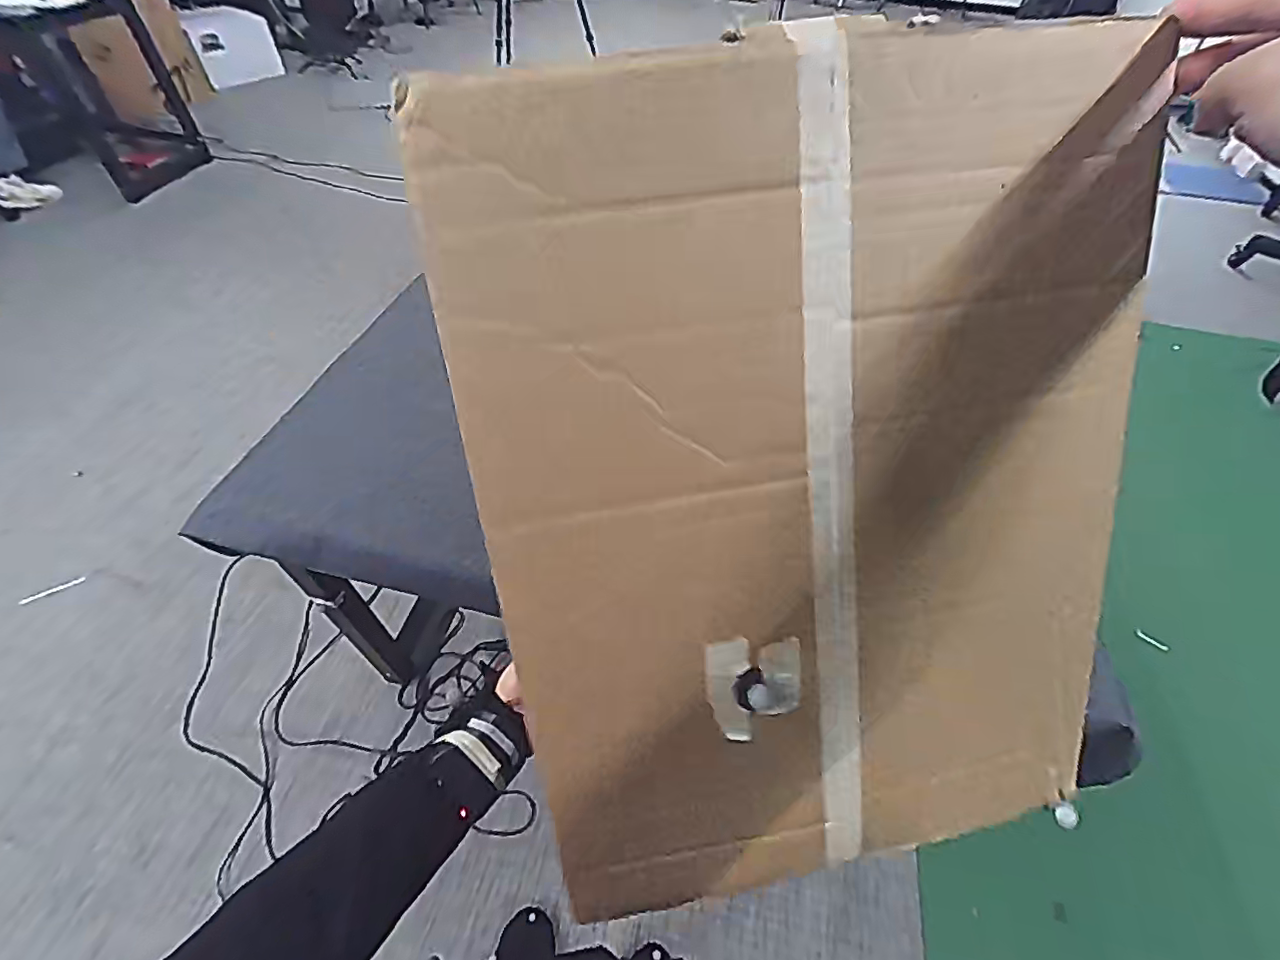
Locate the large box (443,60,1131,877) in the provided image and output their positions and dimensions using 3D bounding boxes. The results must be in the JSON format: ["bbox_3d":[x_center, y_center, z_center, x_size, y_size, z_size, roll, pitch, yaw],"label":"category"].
[{"bbox_3d":[0.074,-0.017,0.422,0.320,0.408,0.320,-11,19,-7],"label":"large box"}]
